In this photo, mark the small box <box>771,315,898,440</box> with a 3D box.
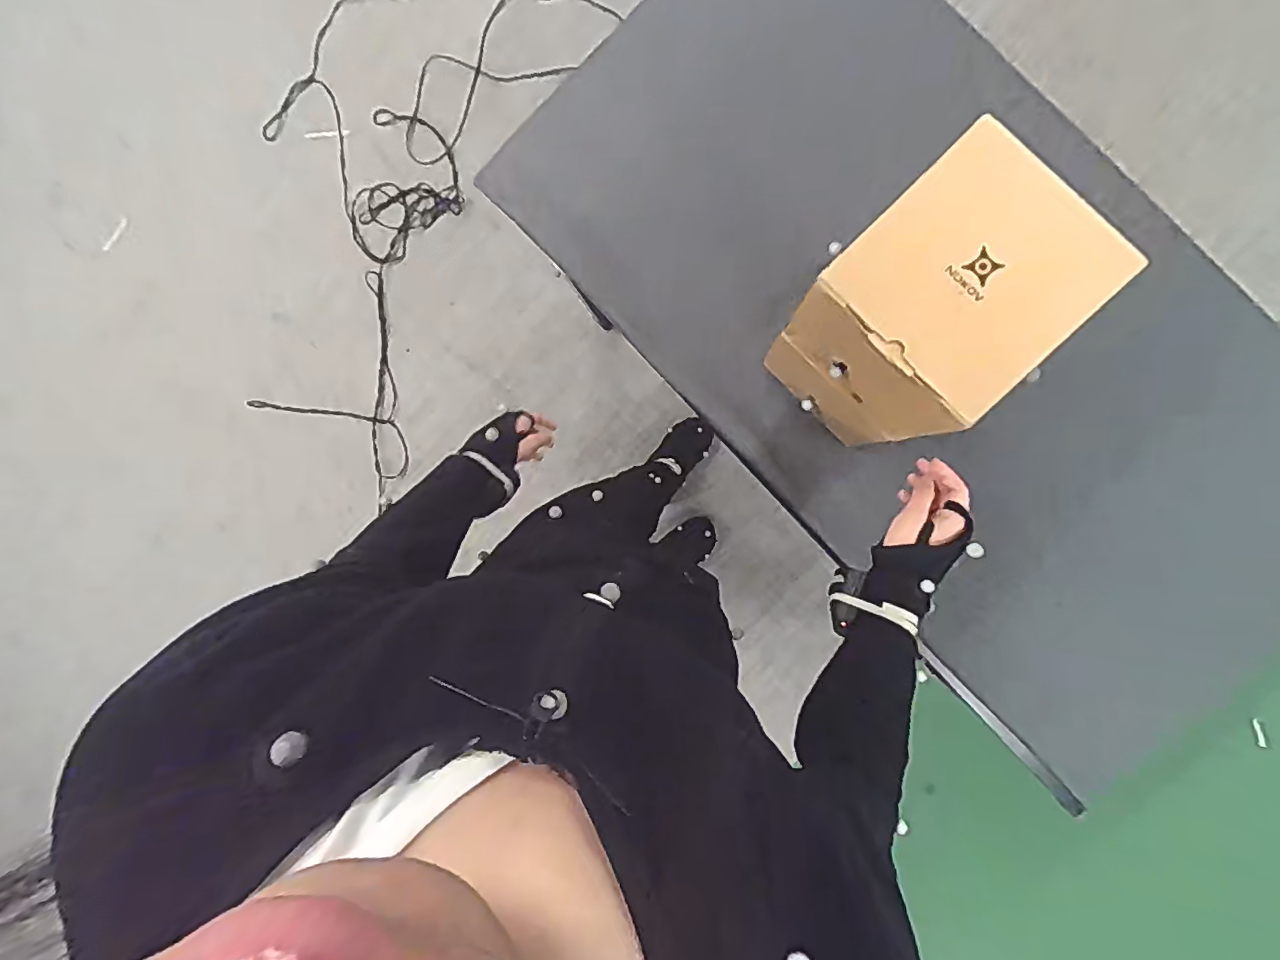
[{"bbox_3d":[0.277,-0.165,0.643,0.179,0.176,0.168,-45,86,5],"label":"small box"}]

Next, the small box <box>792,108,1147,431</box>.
[{"bbox_3d":[0.261,-0.162,0.482,0.179,0.176,0.168,-45,87,5],"label":"small box"}]
